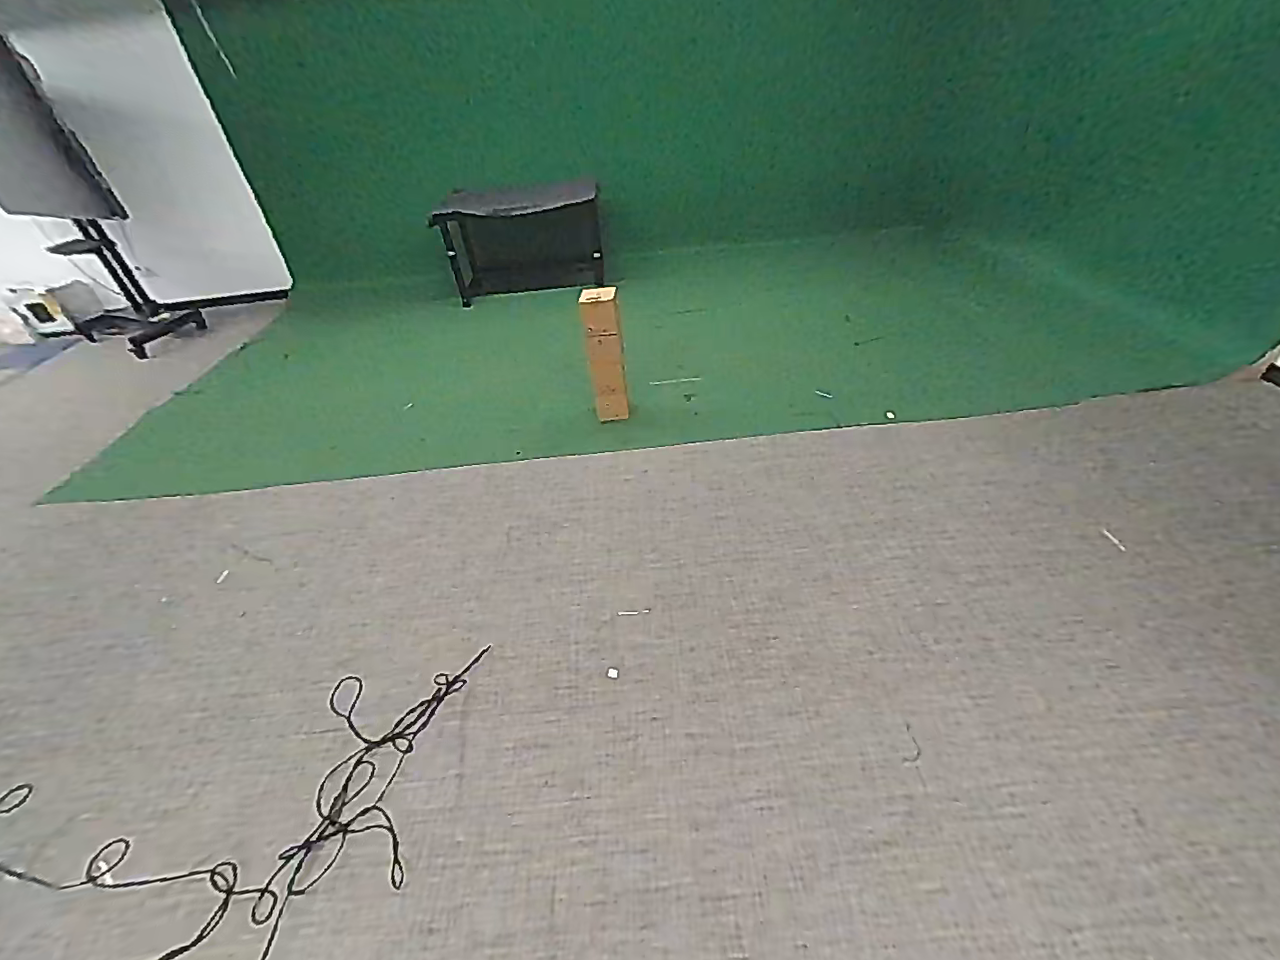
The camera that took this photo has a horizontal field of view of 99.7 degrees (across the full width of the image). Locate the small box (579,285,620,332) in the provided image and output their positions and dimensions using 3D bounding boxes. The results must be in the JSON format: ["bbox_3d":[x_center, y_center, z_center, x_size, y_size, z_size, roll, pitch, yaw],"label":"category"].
[{"bbox_3d":[-0.189,-0.819,2.597,0.168,0.176,0.179,-3,38,6],"label":"small box"}]

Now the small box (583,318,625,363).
[{"bbox_3d":[-0.177,-0.698,2.707,0.179,0.176,0.168,-4,39,5],"label":"small box"}]

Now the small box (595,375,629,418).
[{"bbox_3d":[-0.148,-0.445,2.916,0.168,0.176,0.179,-6,38,2],"label":"small box"}]
